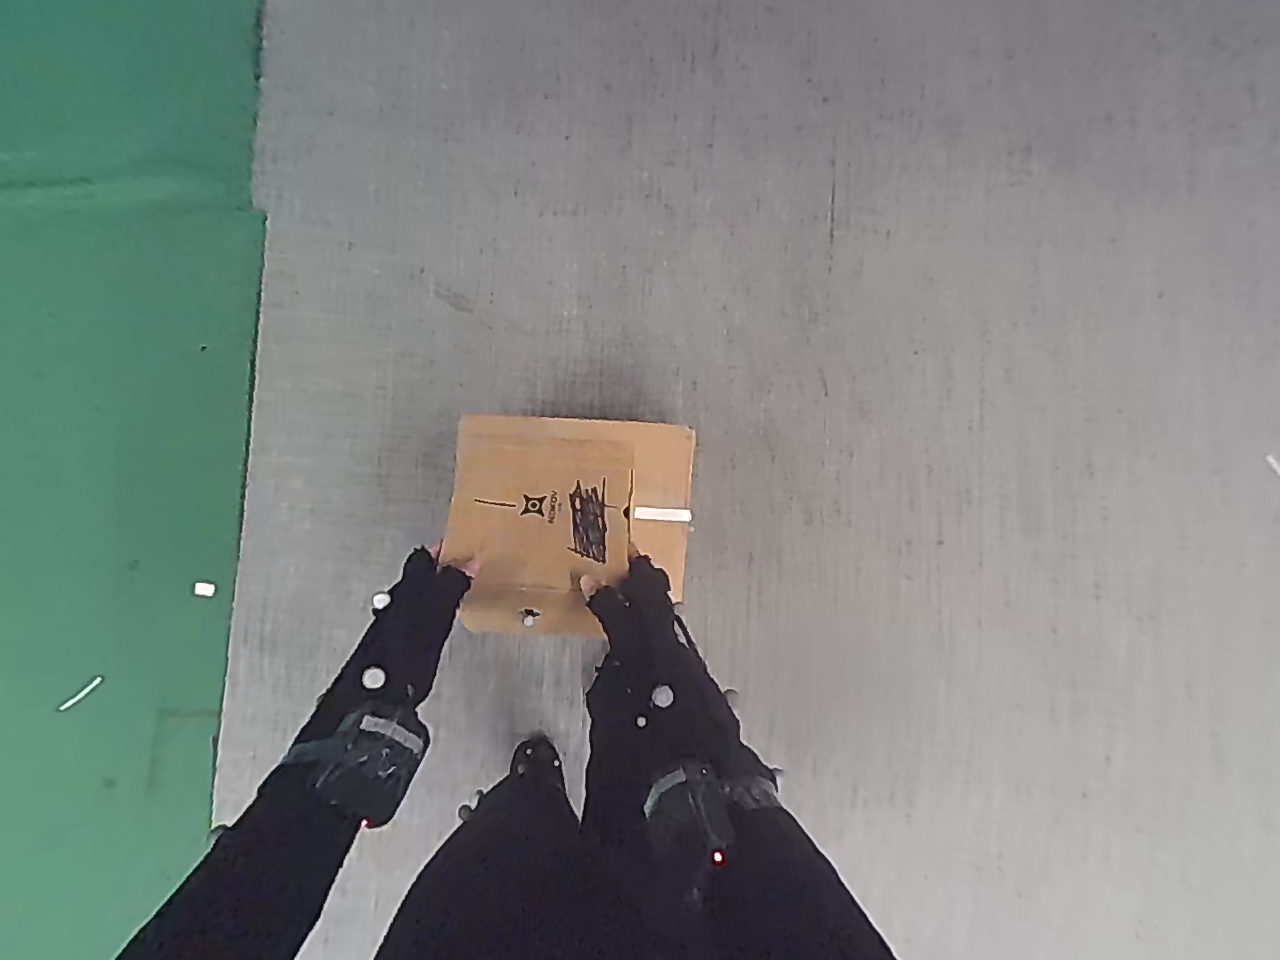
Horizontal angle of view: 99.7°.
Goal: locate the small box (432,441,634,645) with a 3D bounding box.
[{"bbox_3d":[-0.101,0.076,0.588,0.179,0.176,0.168,3,60,-2],"label":"small box"}]
